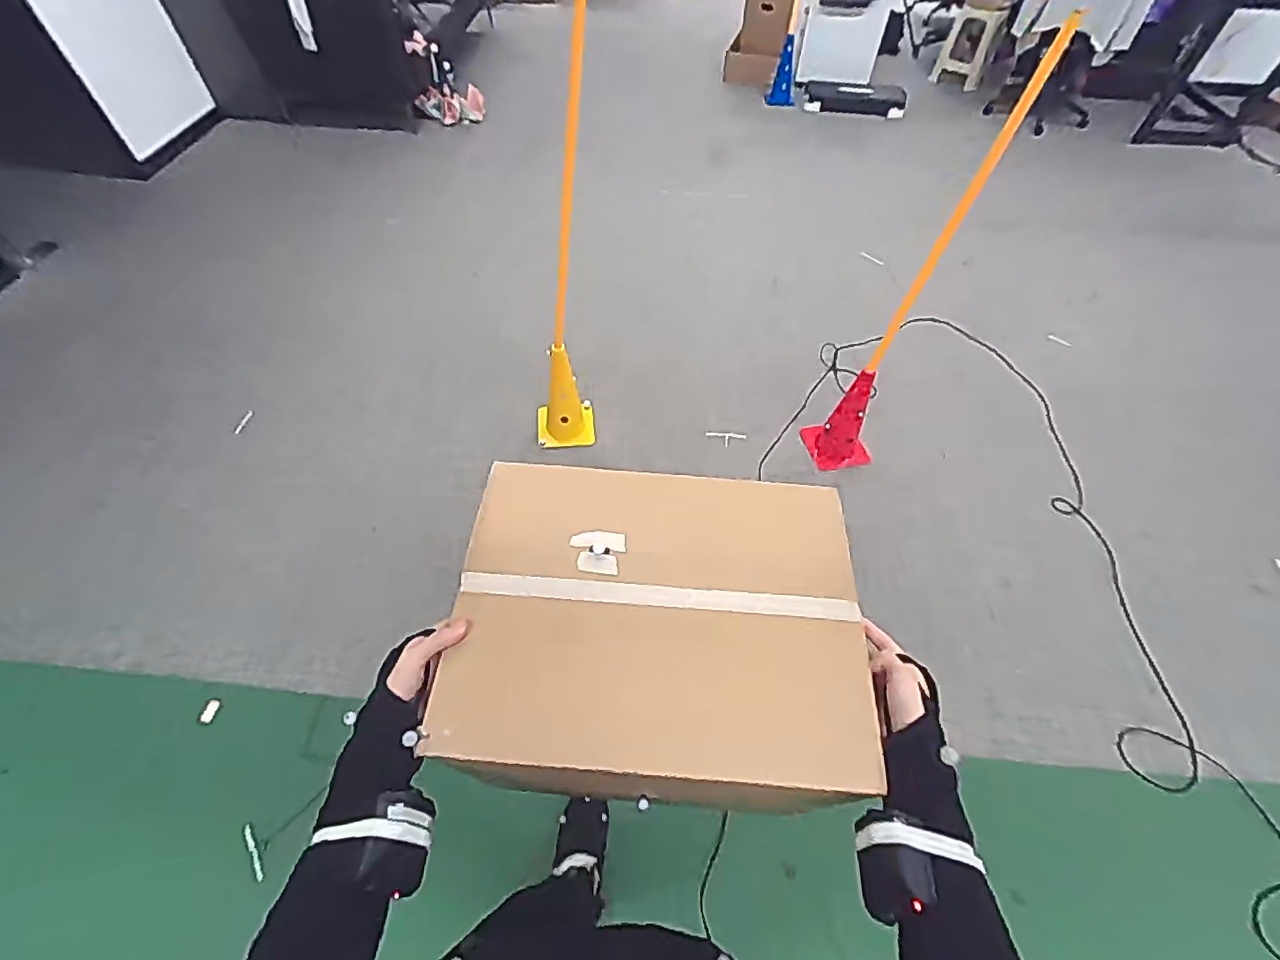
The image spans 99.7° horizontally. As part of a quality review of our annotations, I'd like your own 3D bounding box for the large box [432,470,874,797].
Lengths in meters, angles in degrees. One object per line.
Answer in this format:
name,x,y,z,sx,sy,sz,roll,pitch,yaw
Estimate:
large box,0.019,0.207,0.686,0.408,0.320,0.320,4,55,2
